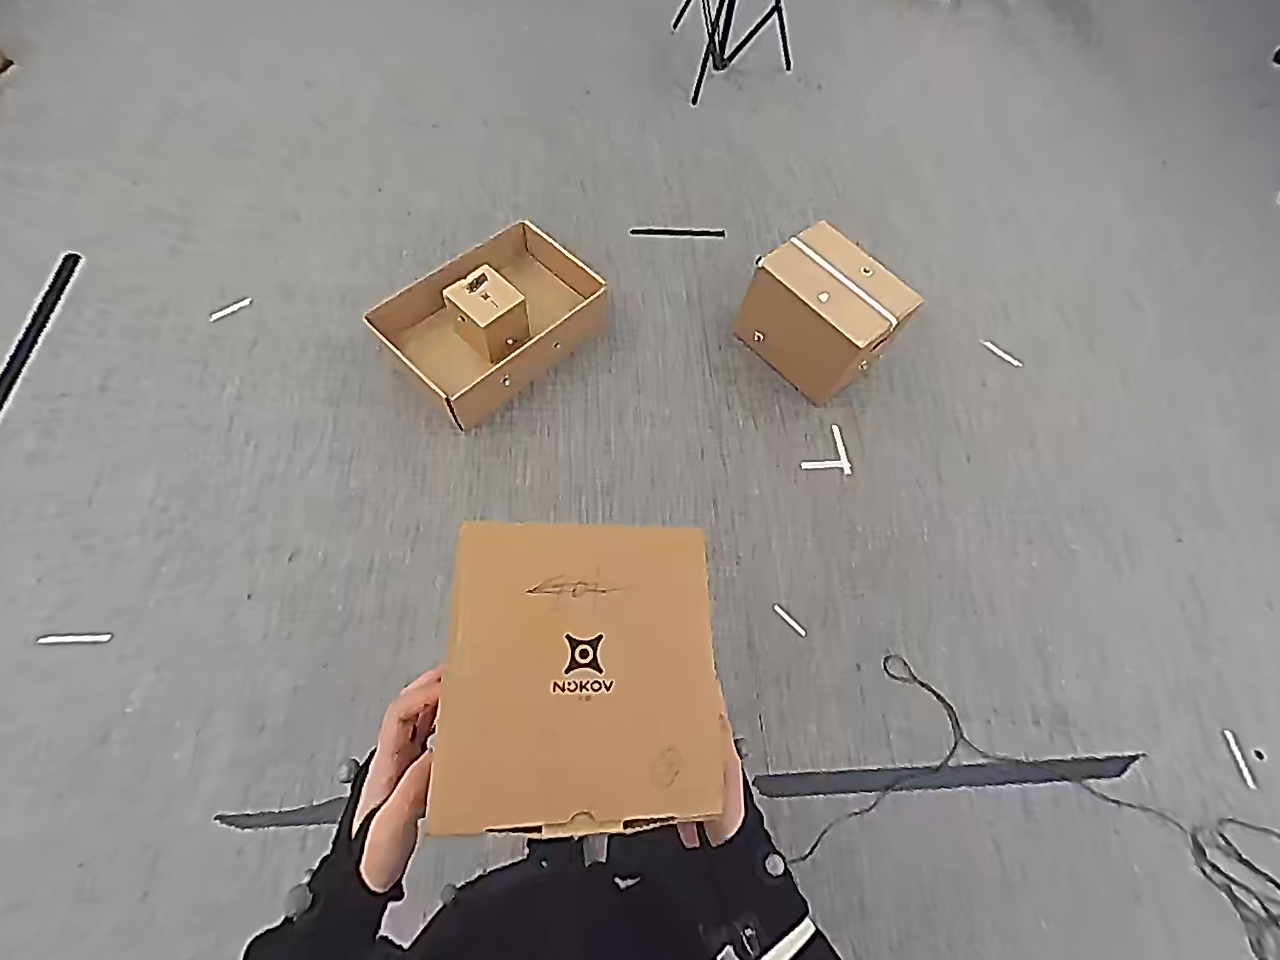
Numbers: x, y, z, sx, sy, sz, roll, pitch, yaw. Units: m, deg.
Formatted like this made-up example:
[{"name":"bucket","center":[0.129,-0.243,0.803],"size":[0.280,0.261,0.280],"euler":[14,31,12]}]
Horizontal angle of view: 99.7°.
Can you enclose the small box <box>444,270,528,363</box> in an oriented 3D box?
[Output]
[{"name":"small box","center":[-0.461,-0.490,1.641],"size":[0.179,0.176,0.168],"euler":[42,68,12]}]

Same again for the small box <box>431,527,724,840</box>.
[{"name":"small box","center":[-0.048,0.146,0.403],"size":[0.168,0.176,0.179],"euler":[2,65,-12]}]
